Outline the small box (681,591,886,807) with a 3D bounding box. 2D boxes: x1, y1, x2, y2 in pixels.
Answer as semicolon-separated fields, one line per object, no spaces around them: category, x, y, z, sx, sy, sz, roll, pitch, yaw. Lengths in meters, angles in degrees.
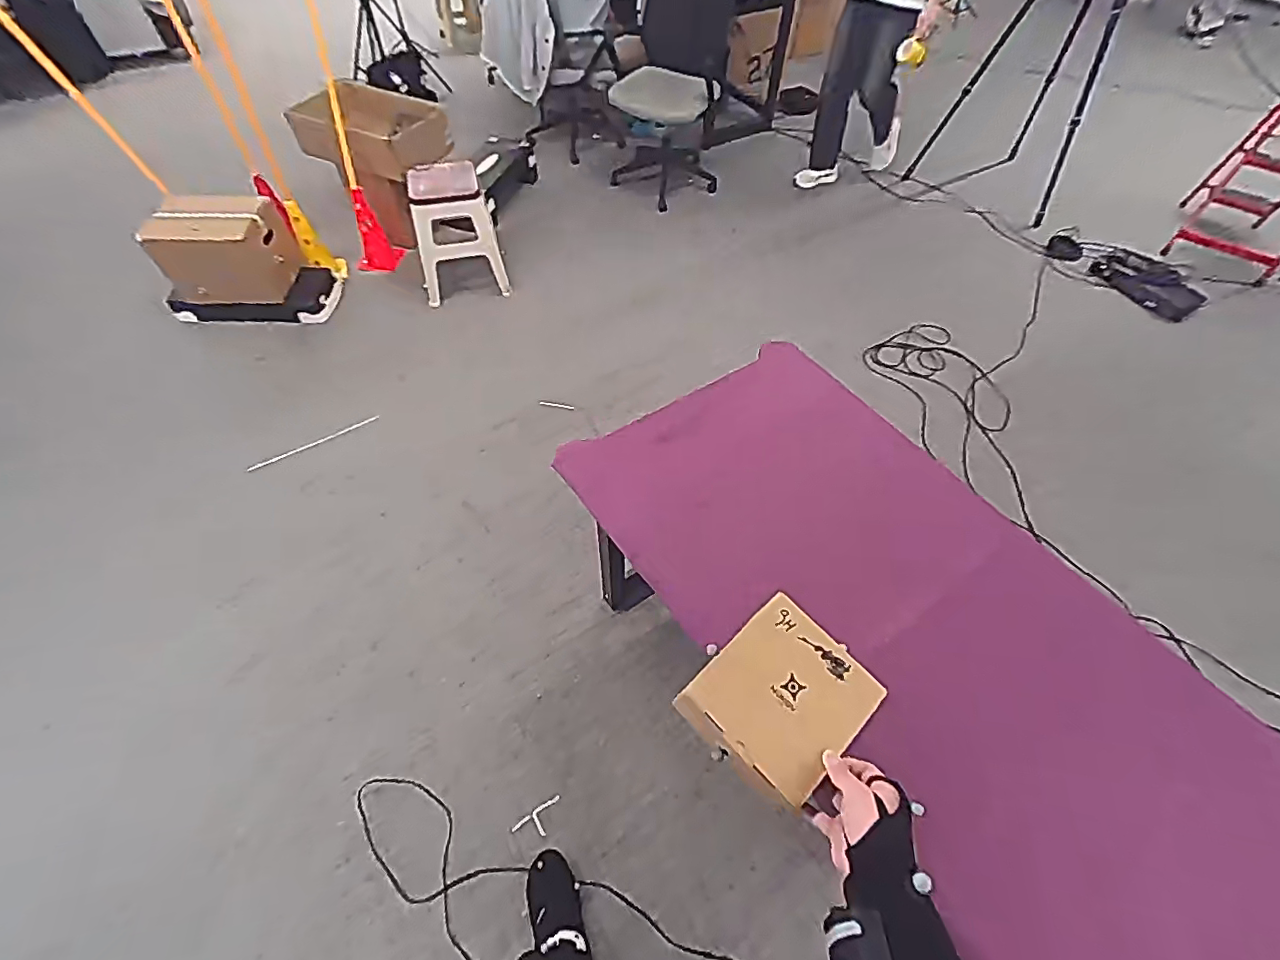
small box;0.166;0.277;0.690;0.179;0.176;0.168;-39;71;-19
